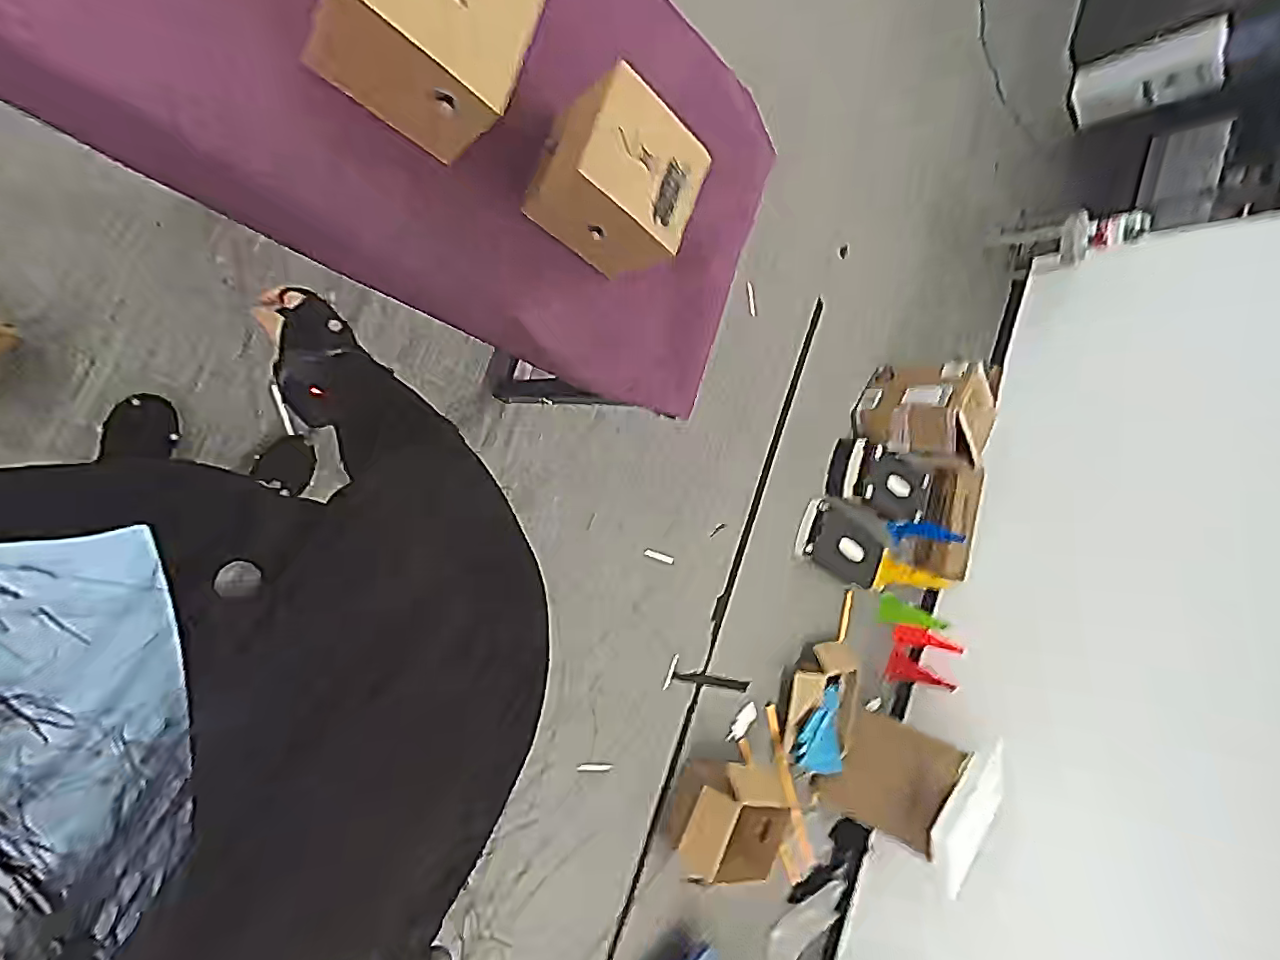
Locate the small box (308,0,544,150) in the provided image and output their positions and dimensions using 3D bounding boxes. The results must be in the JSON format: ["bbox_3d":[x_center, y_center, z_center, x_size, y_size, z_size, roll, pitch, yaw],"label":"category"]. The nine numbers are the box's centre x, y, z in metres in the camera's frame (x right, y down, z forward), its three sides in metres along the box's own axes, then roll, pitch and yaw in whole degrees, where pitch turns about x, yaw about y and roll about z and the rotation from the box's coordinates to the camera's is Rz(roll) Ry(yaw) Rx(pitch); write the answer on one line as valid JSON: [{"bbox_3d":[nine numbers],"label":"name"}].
[{"bbox_3d":[-0.241,-0.510,0.607,0.179,0.176,0.168,22,82,-38],"label":"small box"}]

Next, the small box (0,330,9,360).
[{"bbox_3d":[-1.172,-0.205,0.855,0.168,0.176,0.179,32,77,-38],"label":"small box"}]
